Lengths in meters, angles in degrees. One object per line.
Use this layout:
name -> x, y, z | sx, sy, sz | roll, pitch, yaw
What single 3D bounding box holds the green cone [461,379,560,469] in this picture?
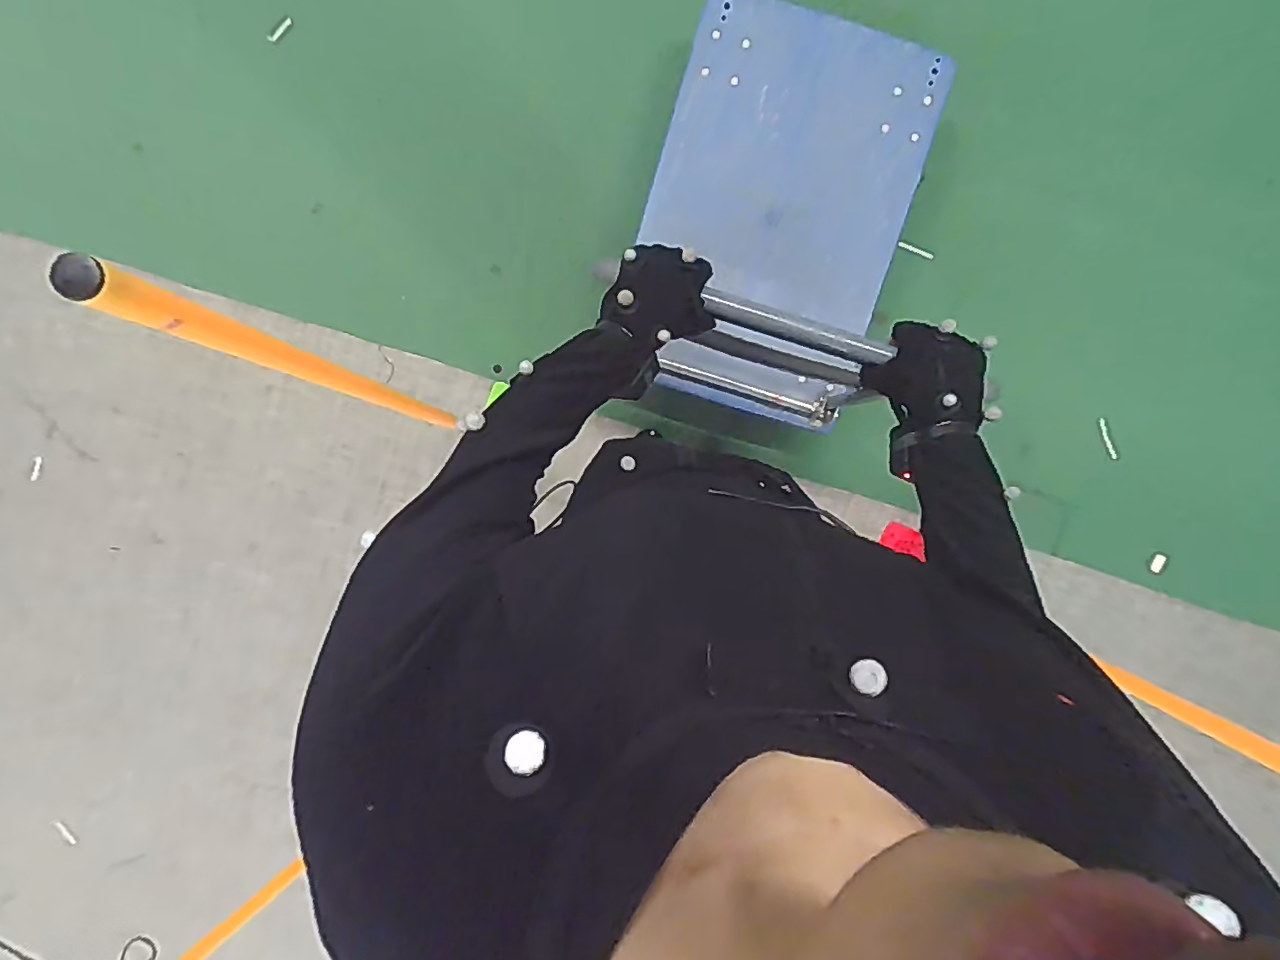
green cone -> -0.341, -0.138, 1.297 | 0.202, 0.368, 0.200 | 23, 95, 0
